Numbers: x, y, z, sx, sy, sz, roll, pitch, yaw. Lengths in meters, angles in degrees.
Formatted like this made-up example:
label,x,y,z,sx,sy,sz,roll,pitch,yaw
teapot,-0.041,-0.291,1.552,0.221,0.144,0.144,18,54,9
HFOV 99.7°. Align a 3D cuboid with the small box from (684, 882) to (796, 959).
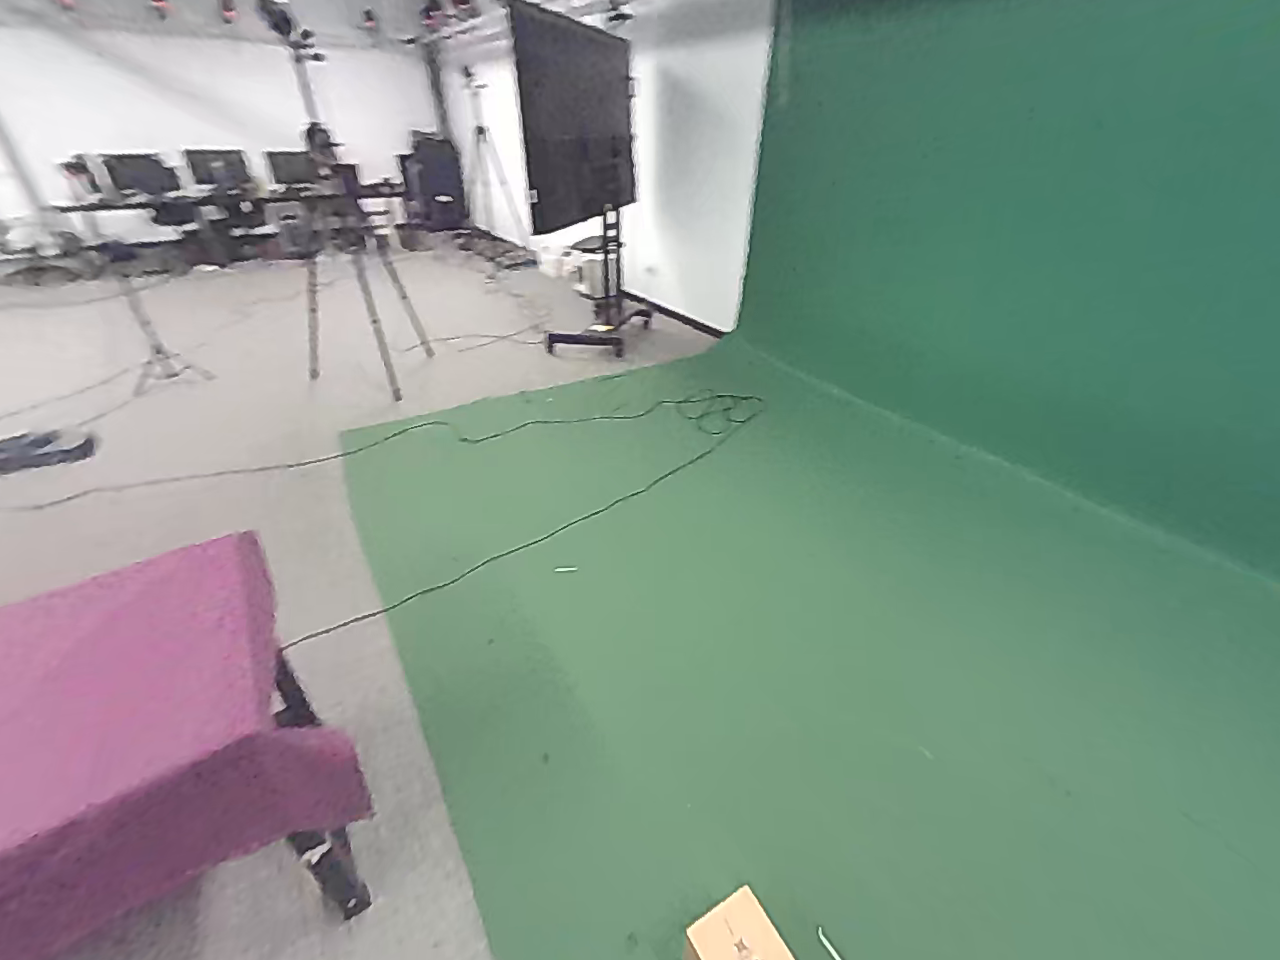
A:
label,x,y,z,sx,sy,sz,roll,pitch,yaw
small box,0.206,1.008,1.132,0.168,0.176,0.179,-17,36,-25
